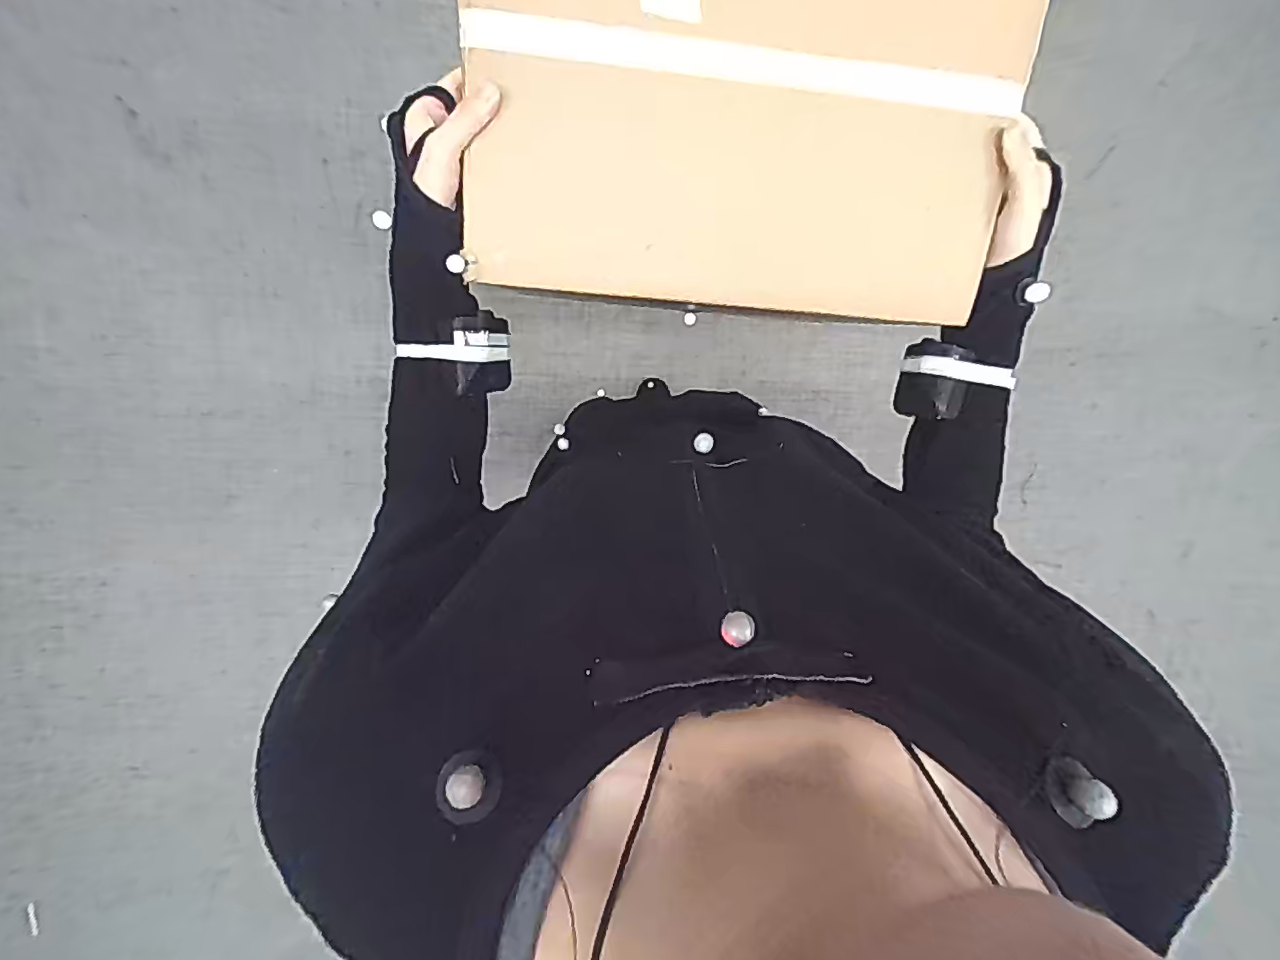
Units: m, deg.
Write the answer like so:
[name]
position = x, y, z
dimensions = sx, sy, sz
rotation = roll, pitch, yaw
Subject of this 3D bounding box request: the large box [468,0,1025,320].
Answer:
[large box]
position = 0.068, -0.339, 0.539
dimensions = 0.408, 0.320, 0.320
rotation = 3, 107, -5
